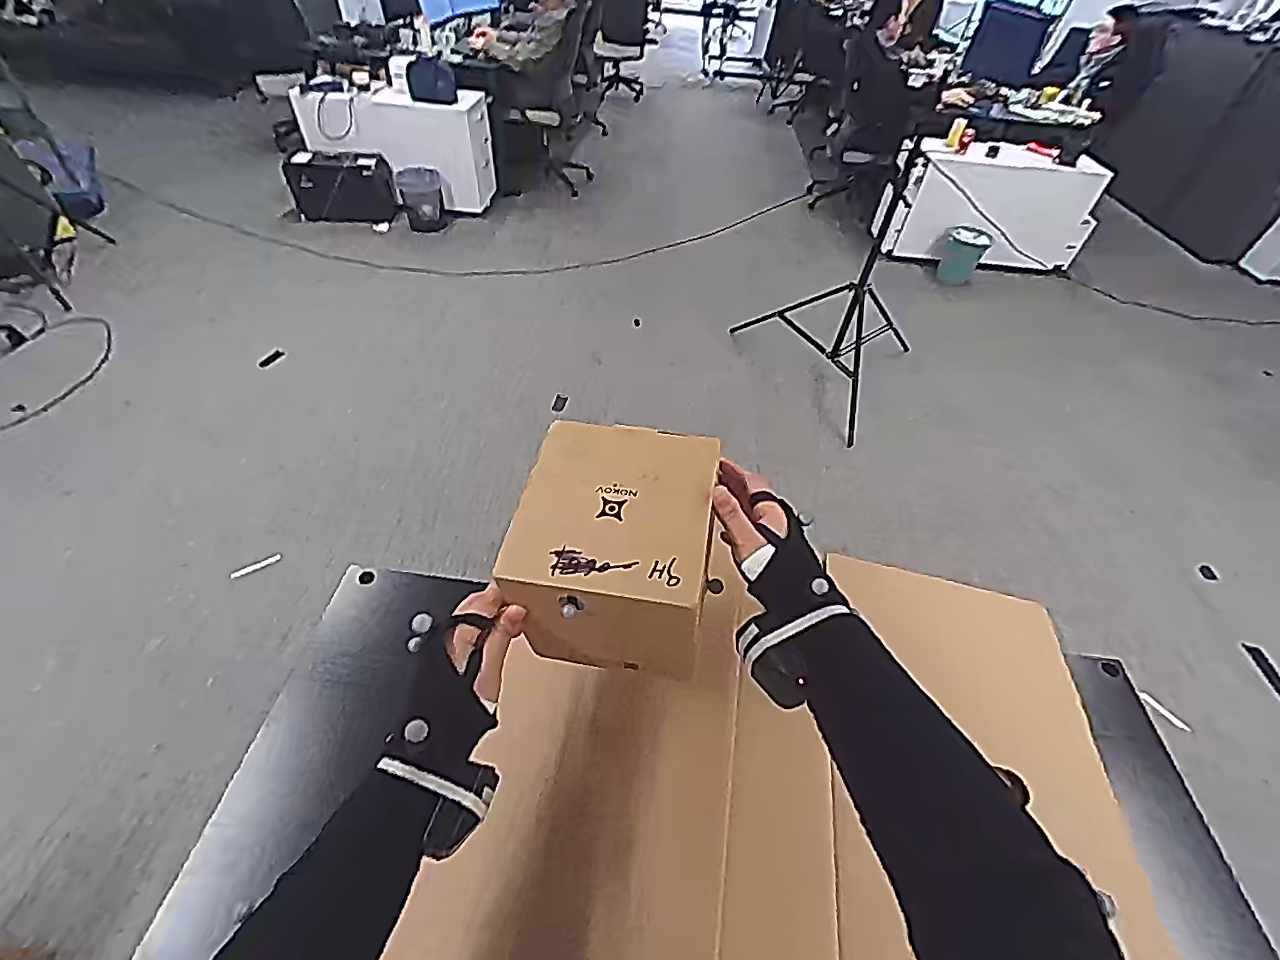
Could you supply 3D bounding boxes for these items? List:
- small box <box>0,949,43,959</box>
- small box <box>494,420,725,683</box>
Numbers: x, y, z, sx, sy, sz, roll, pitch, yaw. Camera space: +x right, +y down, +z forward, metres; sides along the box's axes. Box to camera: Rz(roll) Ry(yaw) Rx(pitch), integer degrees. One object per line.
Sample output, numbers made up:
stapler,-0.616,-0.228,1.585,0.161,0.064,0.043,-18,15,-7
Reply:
small box,-1.218,0.929,0.939,0.168,0.176,0.179,3,47,-2
small box,-0.014,0.068,0.518,0.168,0.176,0.179,6,52,11
